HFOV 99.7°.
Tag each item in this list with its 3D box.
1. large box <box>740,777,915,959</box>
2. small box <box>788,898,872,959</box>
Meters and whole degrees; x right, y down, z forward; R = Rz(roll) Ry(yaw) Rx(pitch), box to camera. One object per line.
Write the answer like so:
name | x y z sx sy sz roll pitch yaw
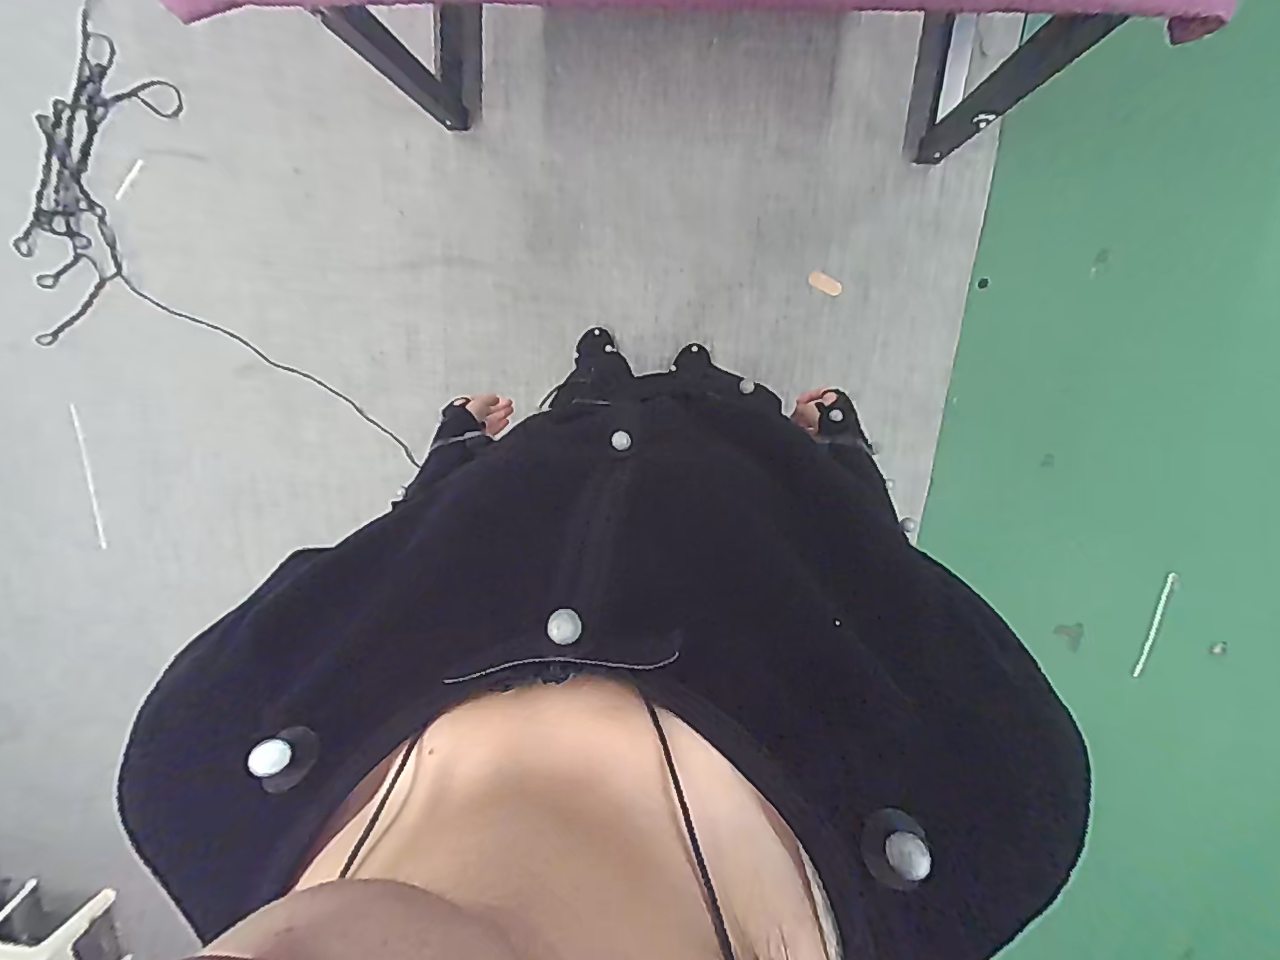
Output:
large box | 0.528 1.126 1.584 0.408 0.320 0.320 -9 104 7
small box | 0.475 1.189 1.352 0.179 0.176 0.168 -5 102 8
